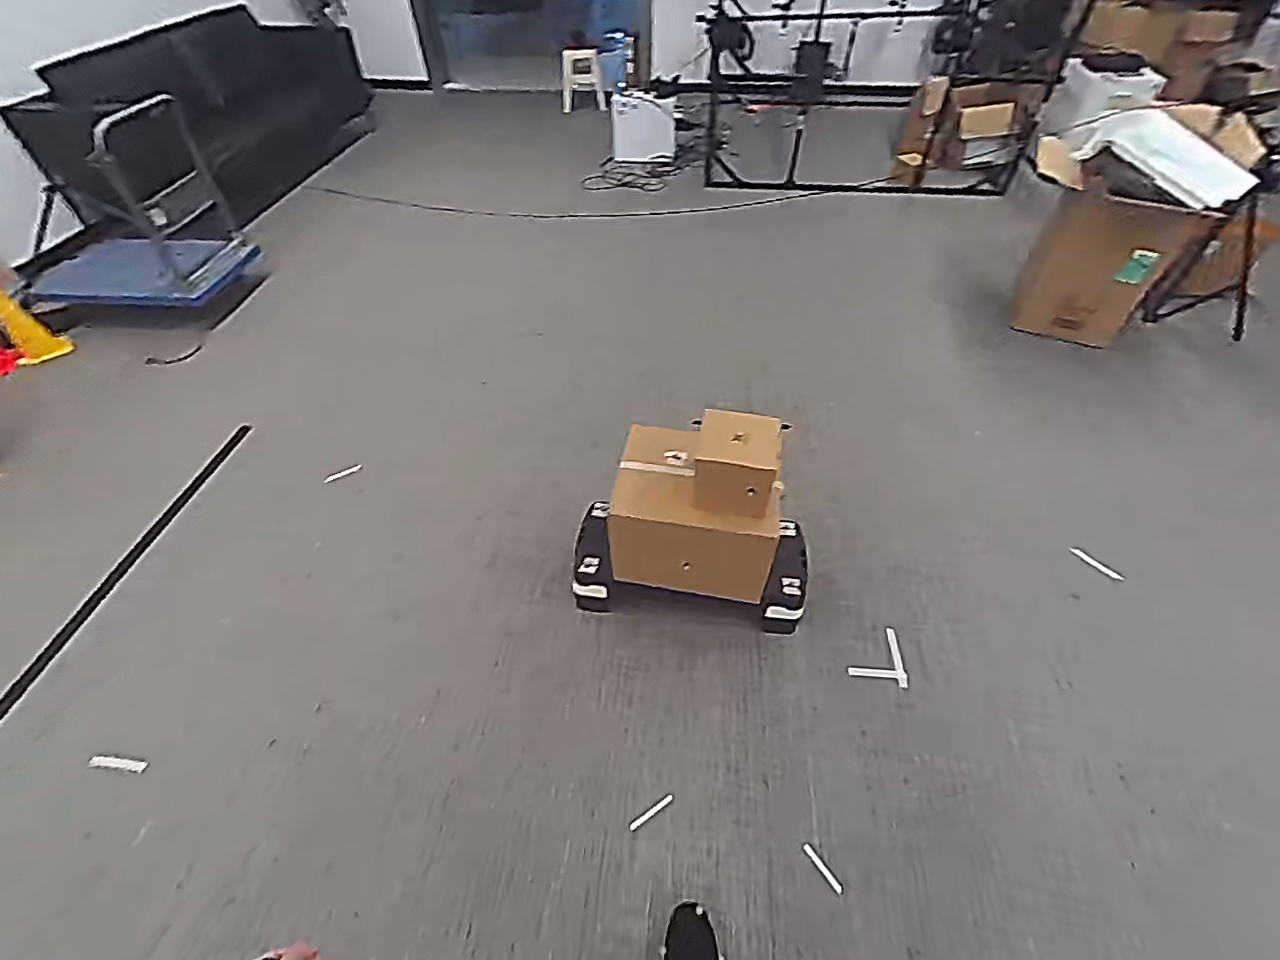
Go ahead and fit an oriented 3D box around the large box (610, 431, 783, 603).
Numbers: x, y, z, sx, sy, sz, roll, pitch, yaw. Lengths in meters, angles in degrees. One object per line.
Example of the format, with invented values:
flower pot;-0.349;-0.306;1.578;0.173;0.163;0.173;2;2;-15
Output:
large box;0.157;0.099;1.444;0.408;0.320;0.320;7;48;9

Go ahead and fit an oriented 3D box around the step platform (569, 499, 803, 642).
step platform;0.136;0.258;1.622;0.684;0.204;0.286;8;49;10

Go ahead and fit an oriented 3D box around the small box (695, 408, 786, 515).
small box;0.227;-0.038;1.236;0.179;0.176;0.168;9;50;10
